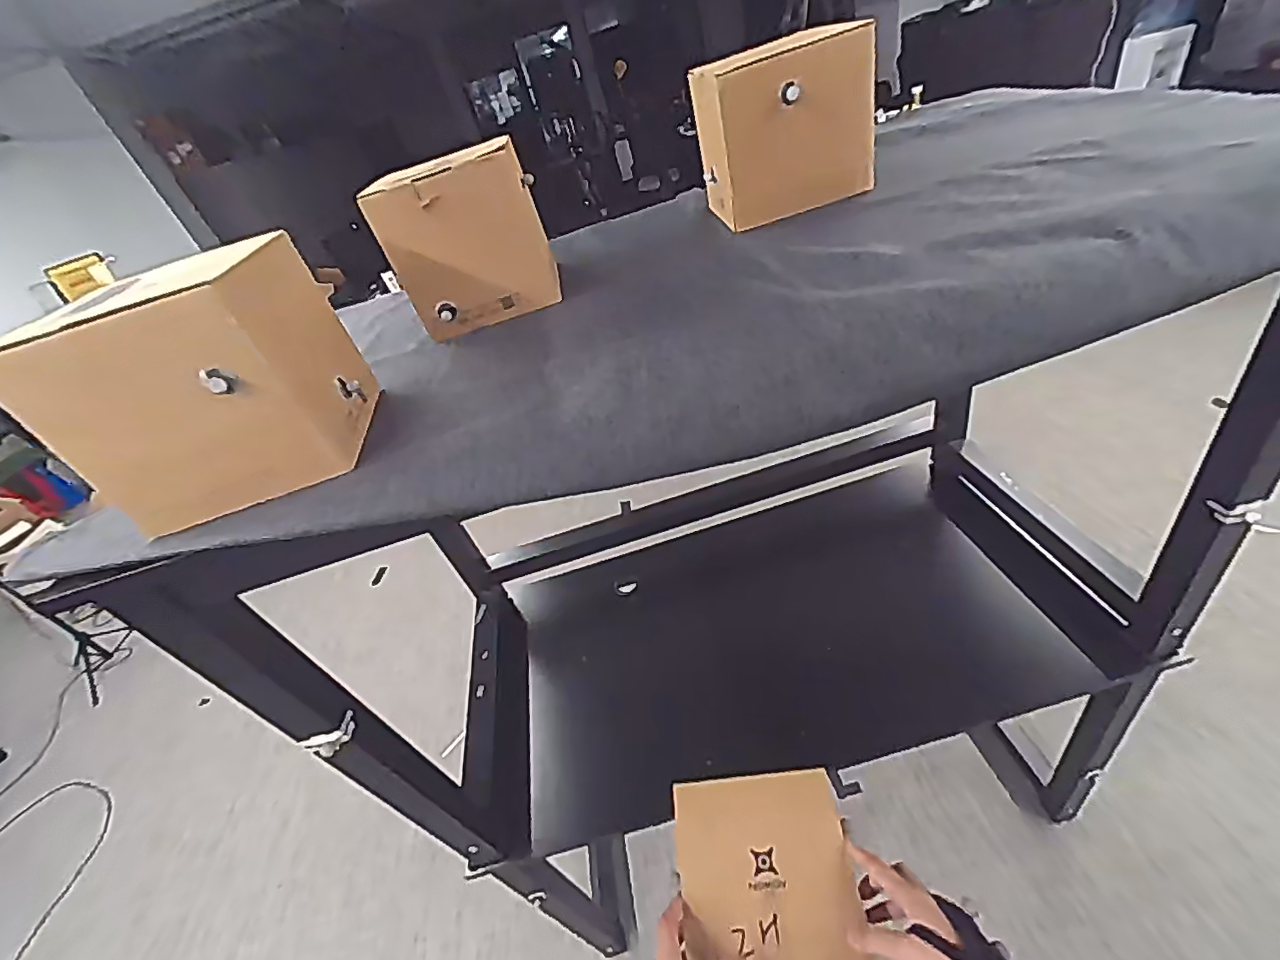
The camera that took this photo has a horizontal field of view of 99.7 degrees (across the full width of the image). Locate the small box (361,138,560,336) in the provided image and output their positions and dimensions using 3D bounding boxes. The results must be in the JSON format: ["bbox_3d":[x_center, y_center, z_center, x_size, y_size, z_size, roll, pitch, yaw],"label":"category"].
[{"bbox_3d":[-0.205,-0.297,0.671,0.168,0.176,0.179,-18,36,2],"label":"small box"}]

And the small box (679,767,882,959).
[{"bbox_3d":[0.137,0.431,0.567,0.168,0.176,0.179,-10,42,6],"label":"small box"}]

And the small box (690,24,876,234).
[{"bbox_3d":[0.175,-0.436,0.679,0.179,0.176,0.168,-17,37,5],"label":"small box"}]
